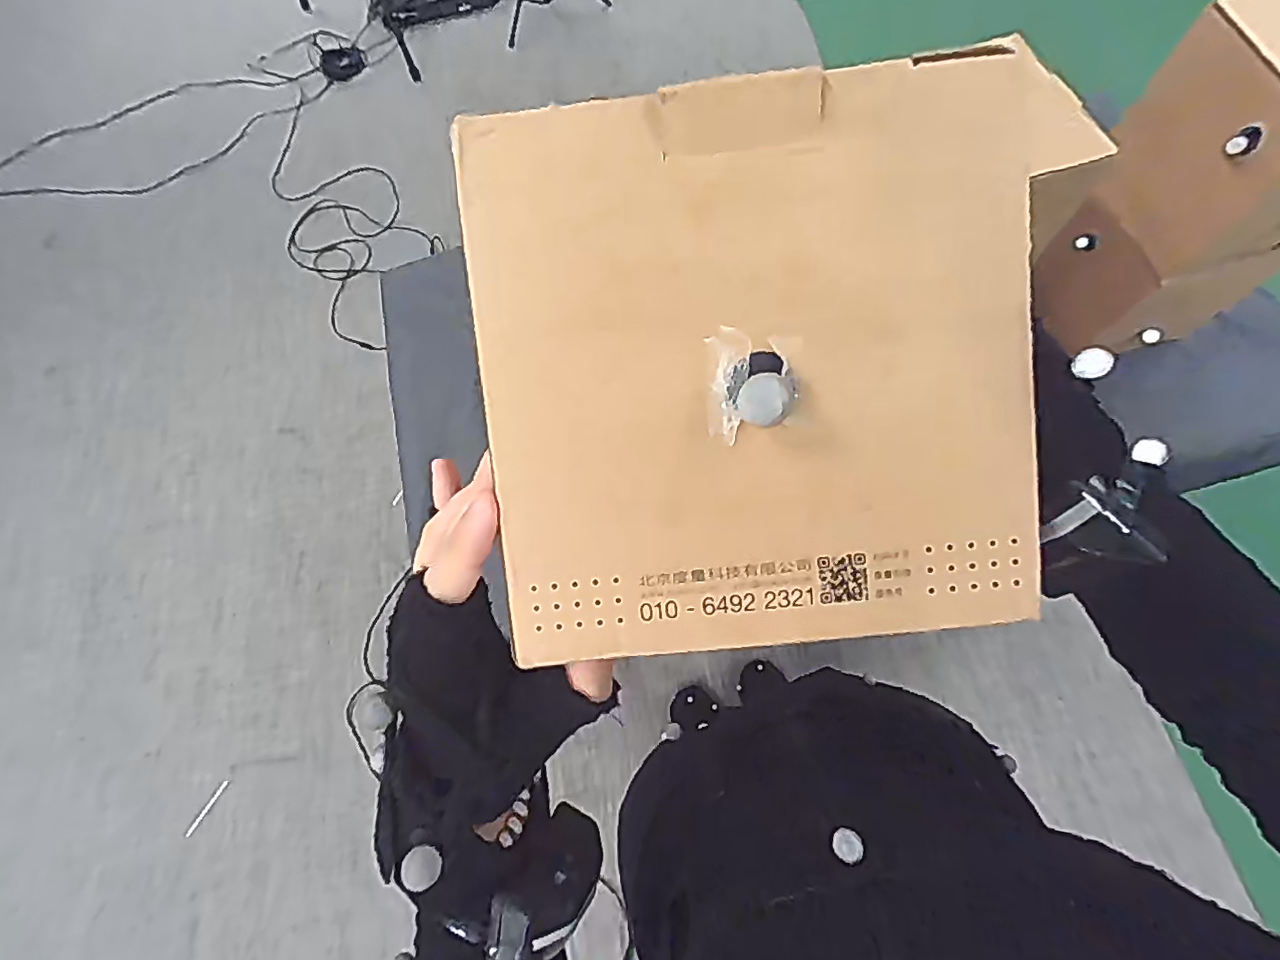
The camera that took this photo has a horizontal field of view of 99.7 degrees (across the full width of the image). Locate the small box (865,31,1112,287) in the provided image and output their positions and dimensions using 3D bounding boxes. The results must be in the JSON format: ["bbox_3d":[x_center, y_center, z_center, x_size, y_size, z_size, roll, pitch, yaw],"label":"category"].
[{"bbox_3d":[0.290,-0.288,0.541,0.179,0.176,0.168,-16,69,0],"label":"small box"}]

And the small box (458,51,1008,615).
[{"bbox_3d":[0.035,-0.044,0.249,0.168,0.179,0.176,-4,97,1],"label":"small box"}]

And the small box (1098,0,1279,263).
[{"bbox_3d":[0.607,-0.337,0.527,0.168,0.176,0.179,-11,70,1],"label":"small box"}]
